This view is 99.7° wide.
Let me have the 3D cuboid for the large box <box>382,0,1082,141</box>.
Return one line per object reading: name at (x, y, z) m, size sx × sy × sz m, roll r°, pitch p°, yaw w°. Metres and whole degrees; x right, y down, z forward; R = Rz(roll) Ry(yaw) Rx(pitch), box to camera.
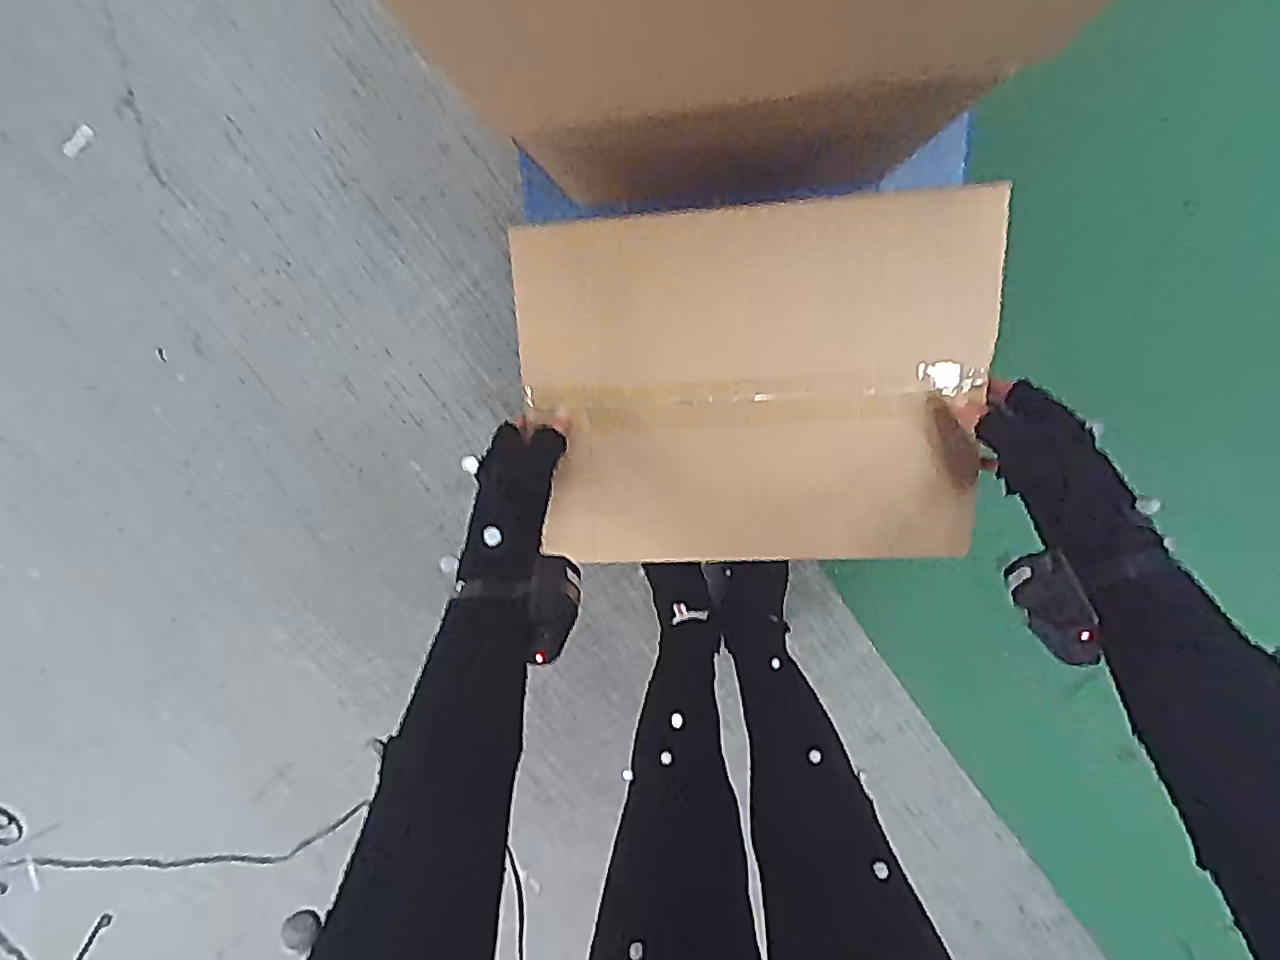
large box at (0.048, -0.404, 0.233) m, size 0.408 × 0.320 × 0.320 m, roll -4°, pitch 99°, yaw 7°
